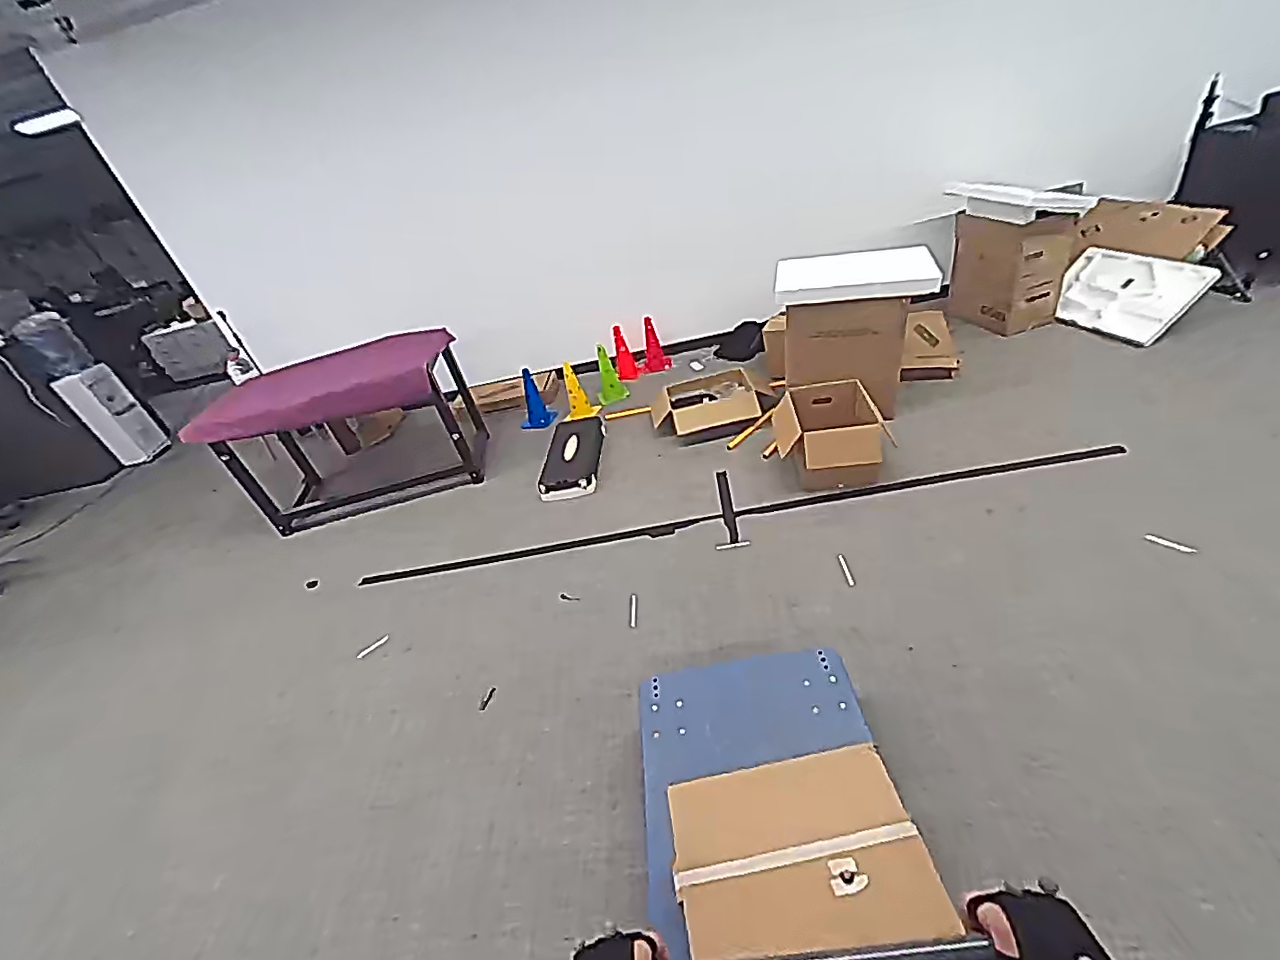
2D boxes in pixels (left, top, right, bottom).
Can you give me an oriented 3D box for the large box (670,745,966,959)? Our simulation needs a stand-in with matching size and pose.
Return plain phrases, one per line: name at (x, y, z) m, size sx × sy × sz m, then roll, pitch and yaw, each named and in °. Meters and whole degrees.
large box at (0.294, 0.756, 0.992) m, size 0.408 × 0.320 × 0.320 m, roll -13°, pitch 35°, yaw 1°
